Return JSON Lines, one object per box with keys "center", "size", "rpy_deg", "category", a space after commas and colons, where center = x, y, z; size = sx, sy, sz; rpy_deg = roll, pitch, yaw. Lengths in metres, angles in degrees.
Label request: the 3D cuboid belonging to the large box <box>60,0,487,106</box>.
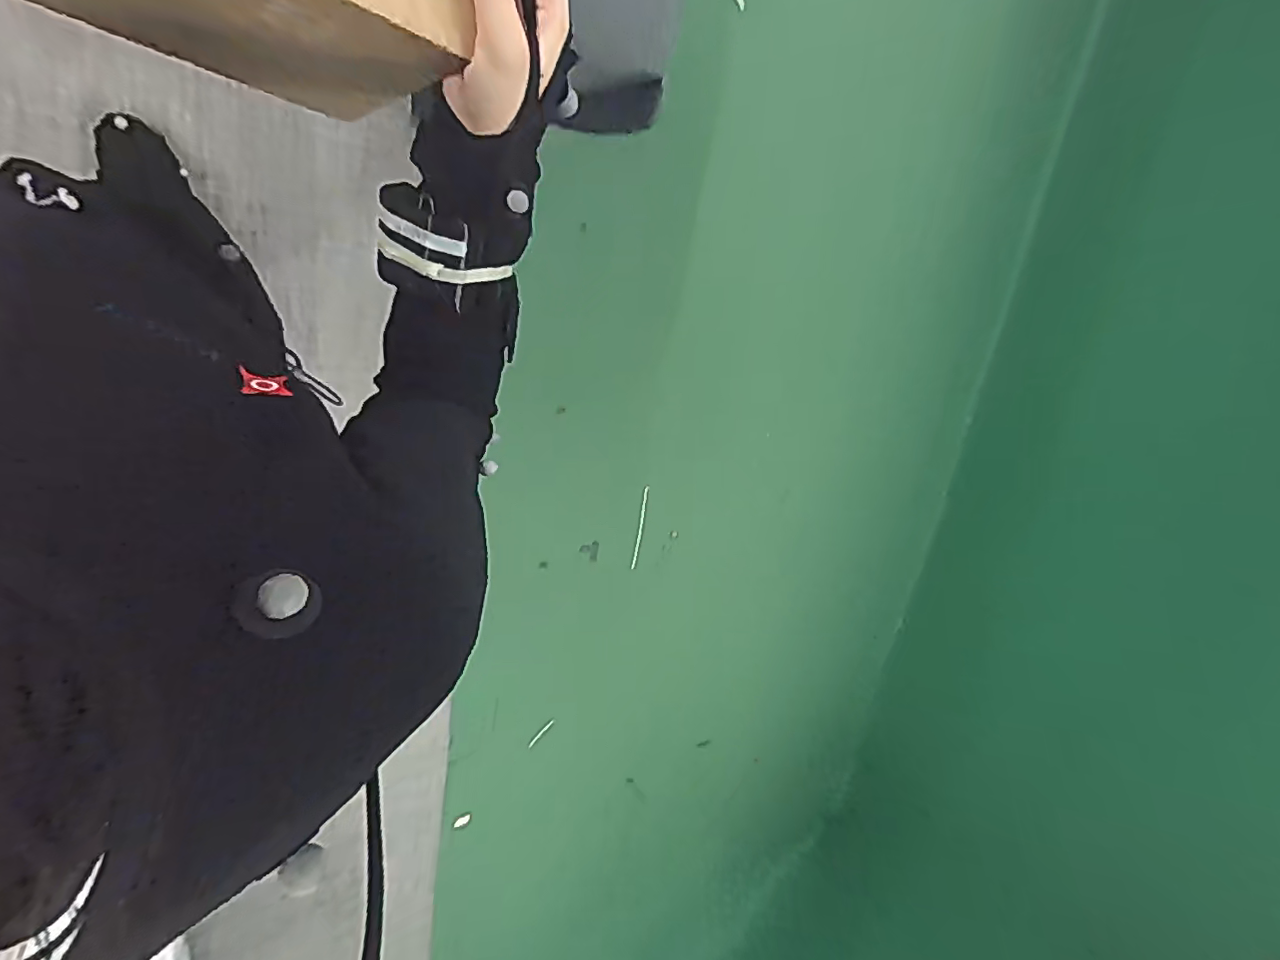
{"center": [-0.290, -0.414, 0.212], "size": [0.408, 0.320, 0.320], "rpy_deg": [-1, 114, -41], "category": "large box"}
